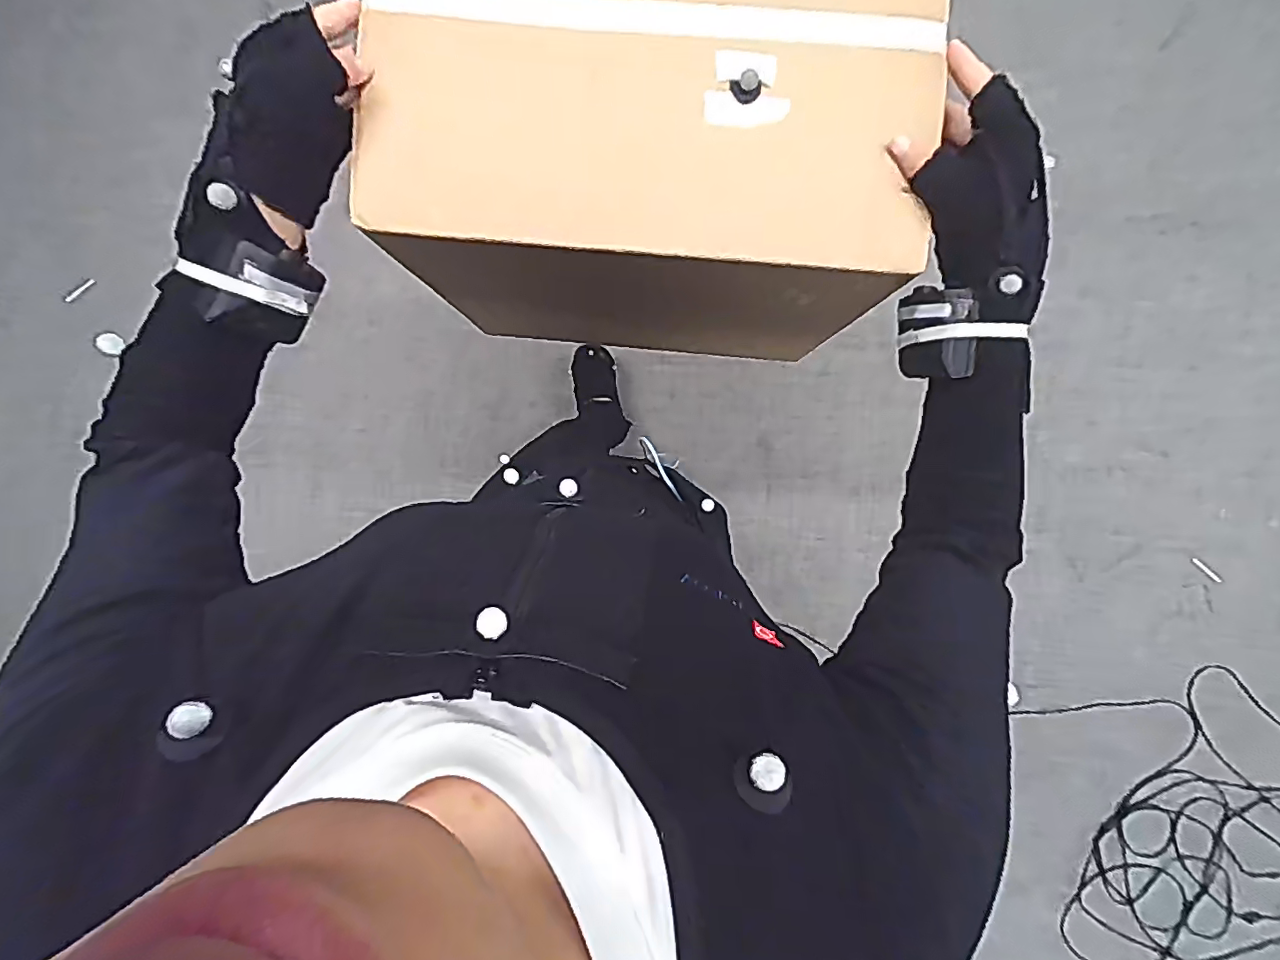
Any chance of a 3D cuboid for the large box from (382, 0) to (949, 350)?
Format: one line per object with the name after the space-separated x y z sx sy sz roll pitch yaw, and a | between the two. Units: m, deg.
0.018 -0.326 0.536 0.408 0.320 0.320 5 92 -1 | large box
